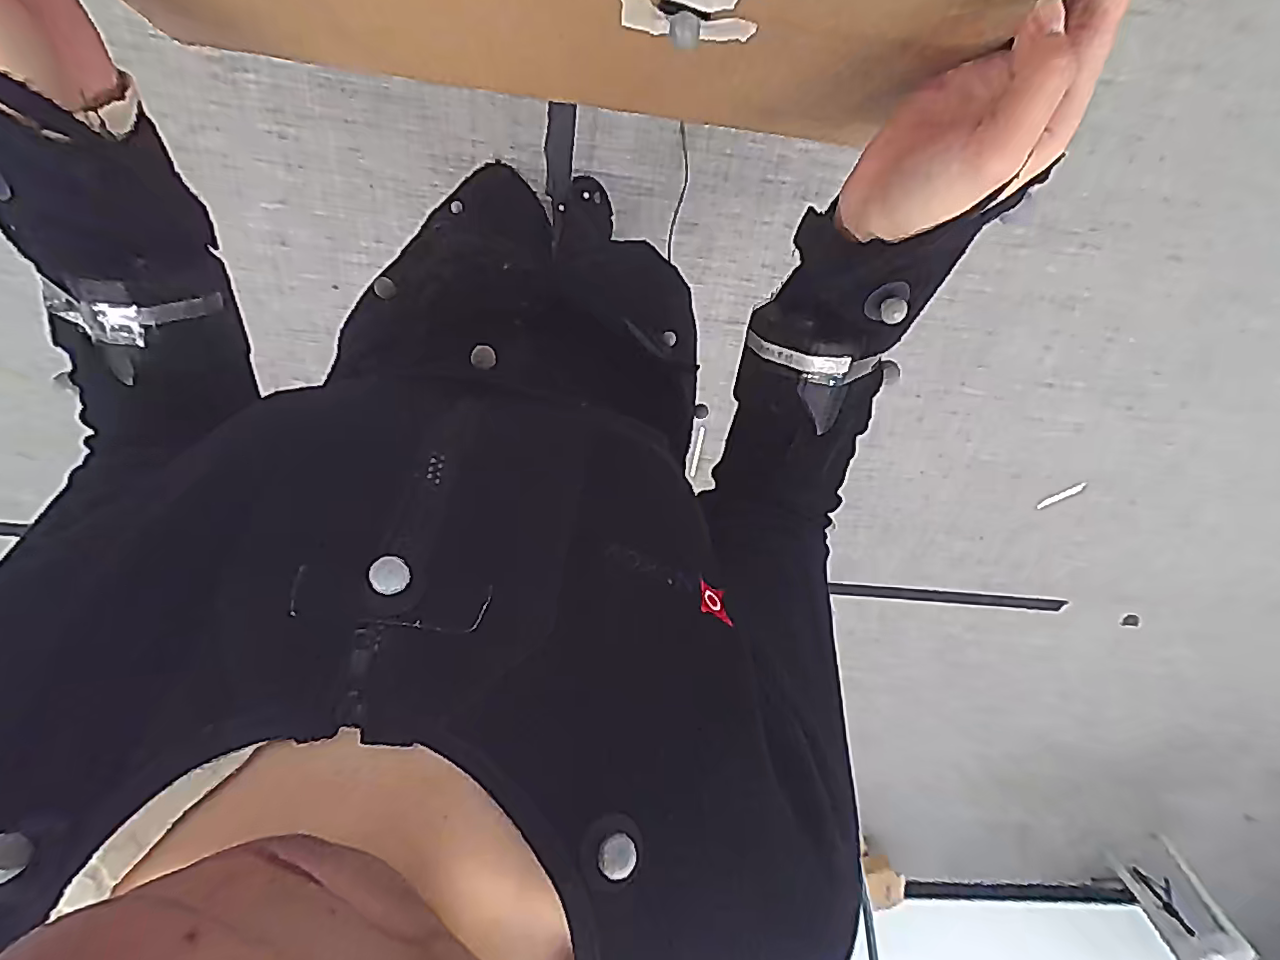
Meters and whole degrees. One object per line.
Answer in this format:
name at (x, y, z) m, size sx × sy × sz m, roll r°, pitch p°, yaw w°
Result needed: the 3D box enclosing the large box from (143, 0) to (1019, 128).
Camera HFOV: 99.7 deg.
large box at (-0.030, -0.352, 0.146) m, size 0.408 × 0.320 × 0.320 m, roll 4°, pitch 102°, yaw -6°
